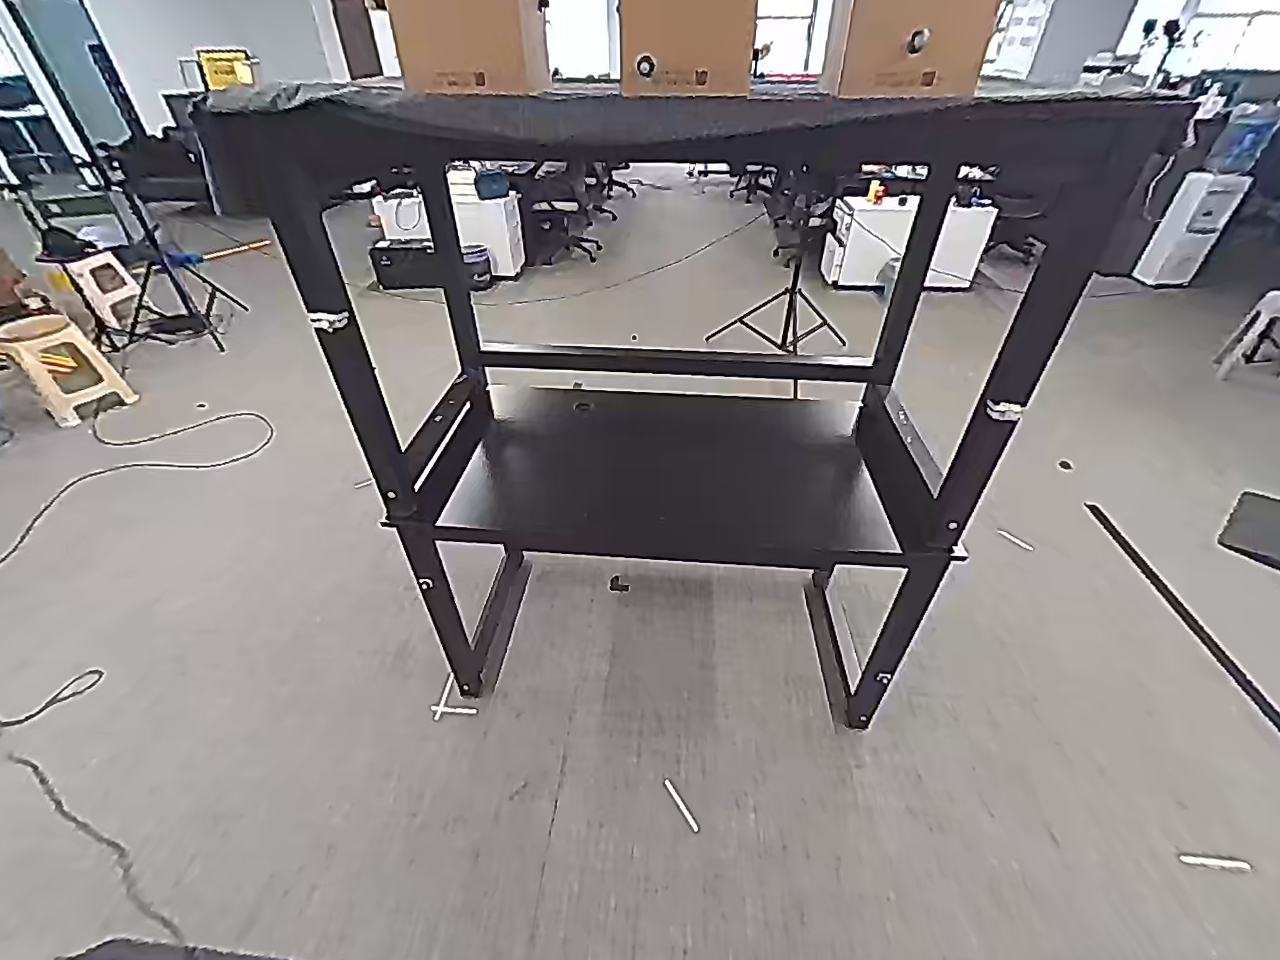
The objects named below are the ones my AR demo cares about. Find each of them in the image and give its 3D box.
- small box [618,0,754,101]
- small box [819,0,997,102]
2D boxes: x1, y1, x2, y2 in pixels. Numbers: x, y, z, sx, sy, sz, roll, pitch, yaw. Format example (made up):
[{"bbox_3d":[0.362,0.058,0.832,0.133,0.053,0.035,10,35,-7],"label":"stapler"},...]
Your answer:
[{"bbox_3d":[0.062,-0.606,0.713,0.168,0.176,0.179,3,36,4],"label":"small box"},{"bbox_3d":[0.336,-0.592,0.693,0.168,0.176,0.179,3,38,6],"label":"small box"}]
